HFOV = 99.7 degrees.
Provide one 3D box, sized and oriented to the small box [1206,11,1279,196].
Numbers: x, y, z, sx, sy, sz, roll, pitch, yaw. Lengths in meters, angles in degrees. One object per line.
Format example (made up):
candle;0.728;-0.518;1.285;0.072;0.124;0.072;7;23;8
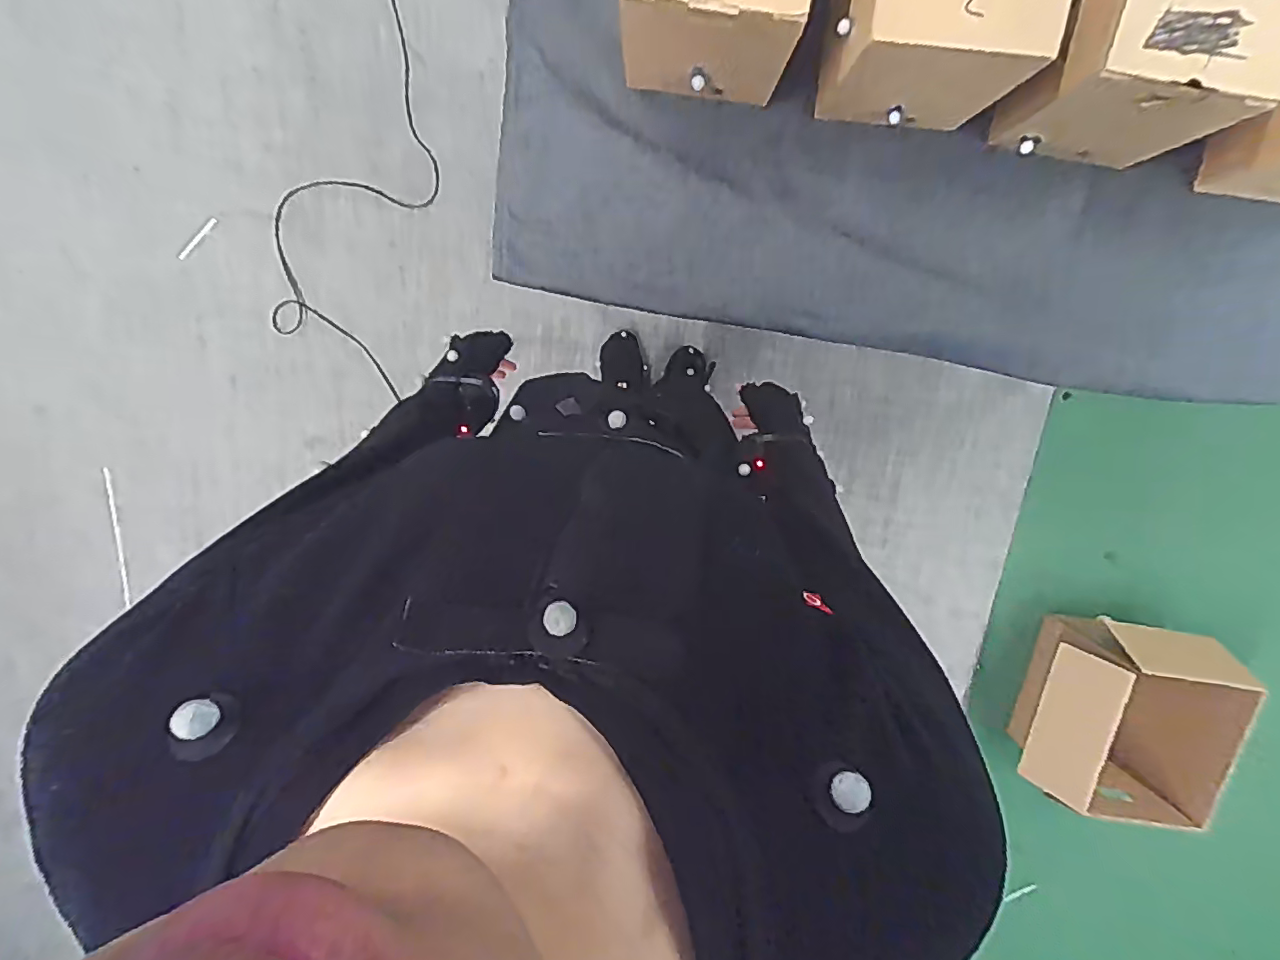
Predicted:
small box;0.738;-0.391;0.535;0.168;0.176;0.179;8;104;-1

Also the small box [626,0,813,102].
small box;0.076;-0.505;0.517;0.168;0.176;0.179;7;104;-1
